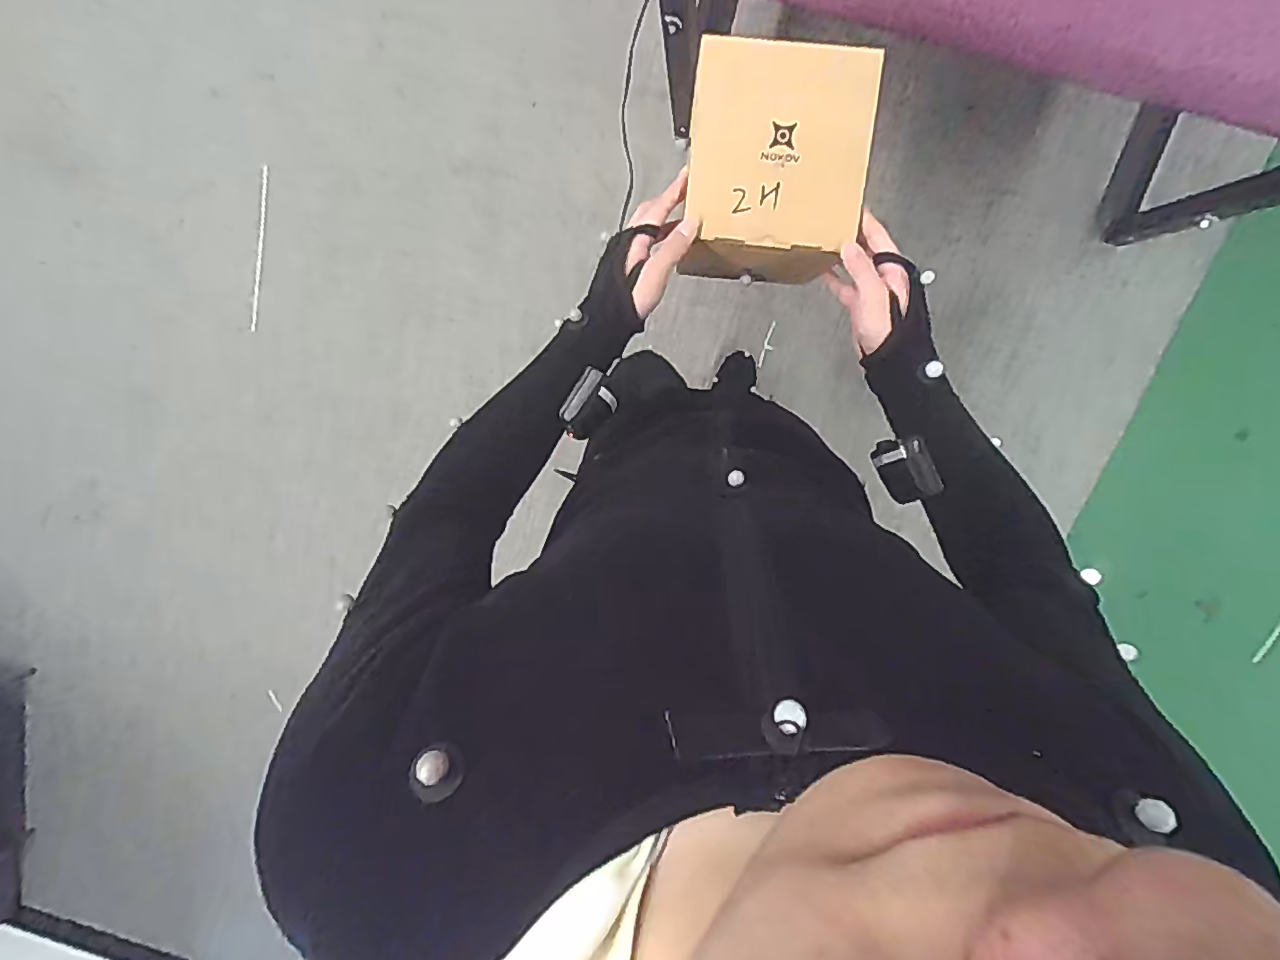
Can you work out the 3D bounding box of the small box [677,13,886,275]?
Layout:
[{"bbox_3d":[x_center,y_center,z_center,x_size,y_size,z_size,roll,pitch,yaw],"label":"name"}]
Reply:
[{"bbox_3d":[0.129,-0.329,0.565,0.168,0.176,0.179,6,100,2],"label":"small box"}]

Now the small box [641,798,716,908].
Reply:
[{"bbox_3d":[0.114,1.074,1.566,0.168,0.176,0.179,18,106,1],"label":"small box"}]
